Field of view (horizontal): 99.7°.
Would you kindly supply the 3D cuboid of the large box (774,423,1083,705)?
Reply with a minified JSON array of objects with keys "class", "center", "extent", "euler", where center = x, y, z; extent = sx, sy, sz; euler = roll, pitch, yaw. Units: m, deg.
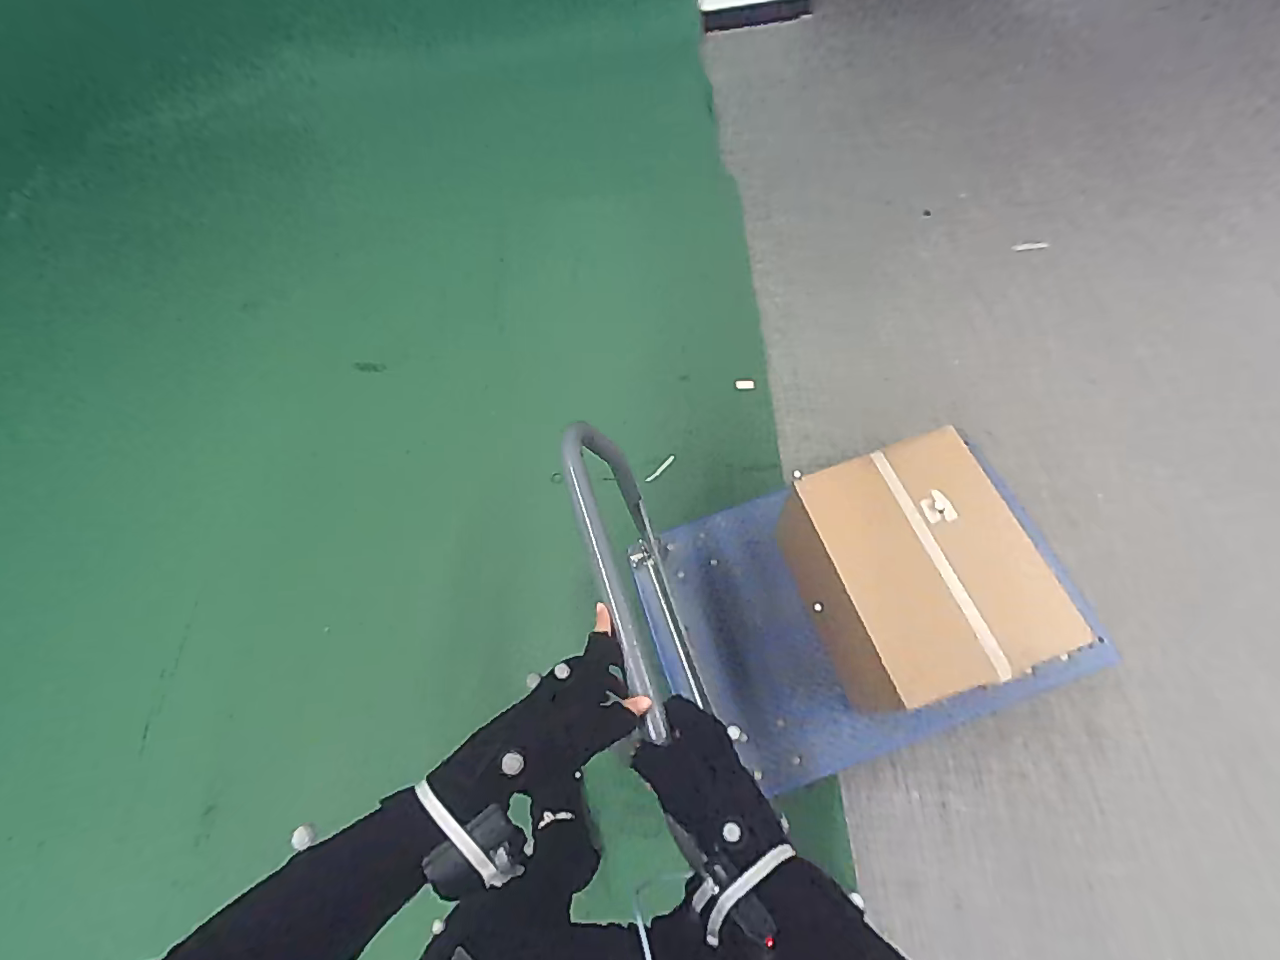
[{"class":"large box","center":[0.494,0.173,1.040],"extent":[0.320,0.320,0.408],"euler":[-19,64,-3]}]
